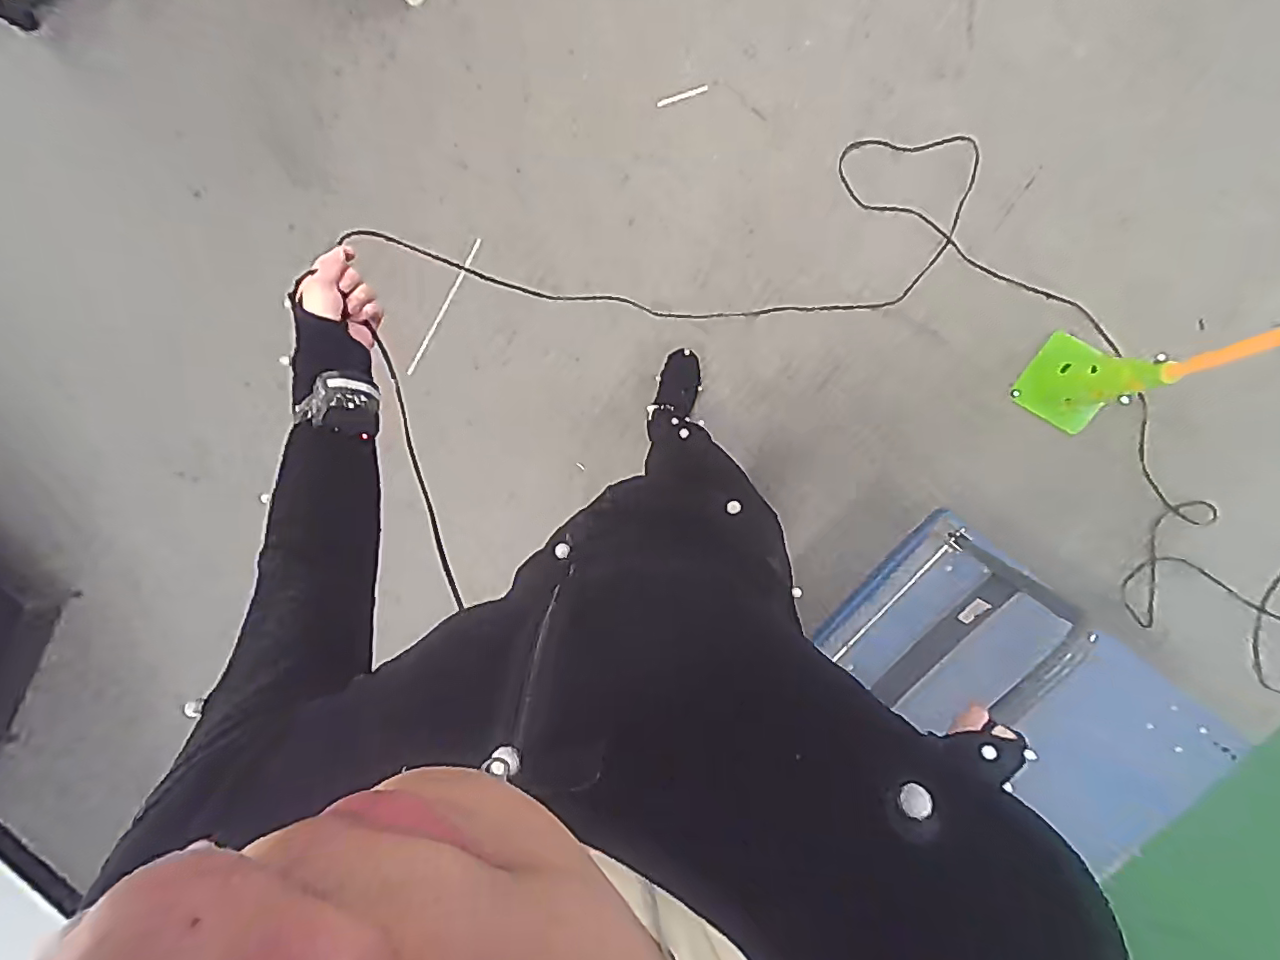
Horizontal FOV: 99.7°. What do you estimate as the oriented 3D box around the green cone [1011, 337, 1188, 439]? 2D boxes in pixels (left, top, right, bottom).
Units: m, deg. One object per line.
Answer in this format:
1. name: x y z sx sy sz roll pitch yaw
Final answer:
1. green cone: 1.040 -0.212 1.188 0.200 0.368 0.202 32 101 6
